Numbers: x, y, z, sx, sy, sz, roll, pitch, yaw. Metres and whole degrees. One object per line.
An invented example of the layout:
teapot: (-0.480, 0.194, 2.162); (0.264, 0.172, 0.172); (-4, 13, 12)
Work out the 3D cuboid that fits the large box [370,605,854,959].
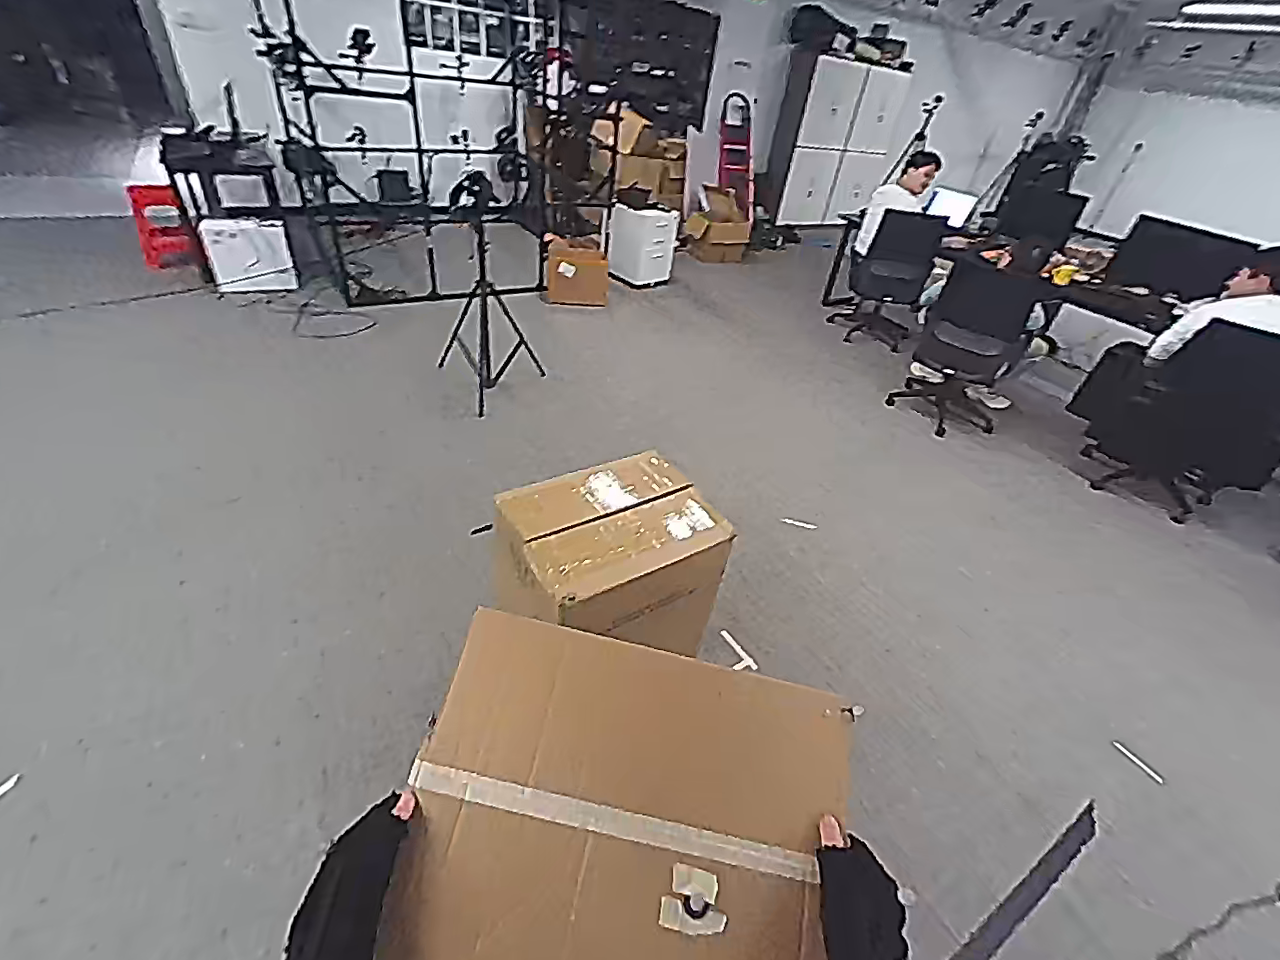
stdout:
large box: (-0.014, 0.368, 0.633); (0.408, 0.320, 0.320); (13, 65, 0)
